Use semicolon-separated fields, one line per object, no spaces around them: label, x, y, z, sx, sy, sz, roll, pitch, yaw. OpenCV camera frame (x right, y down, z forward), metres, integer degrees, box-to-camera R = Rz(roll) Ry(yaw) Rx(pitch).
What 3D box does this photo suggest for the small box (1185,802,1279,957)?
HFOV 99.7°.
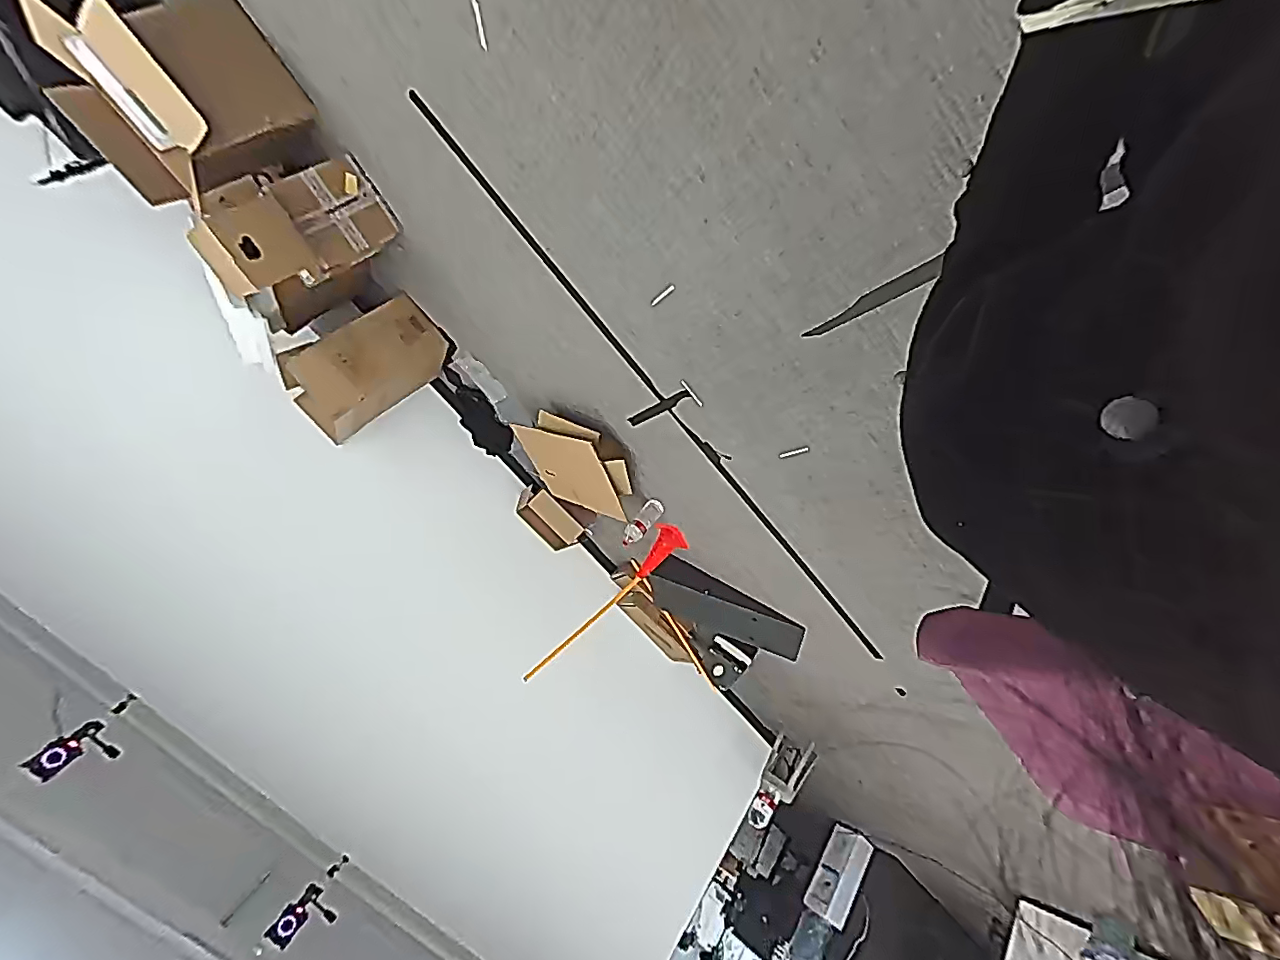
small box;1.128;0.727;0.968;0.179;0.176;0.168;50;150;-13
